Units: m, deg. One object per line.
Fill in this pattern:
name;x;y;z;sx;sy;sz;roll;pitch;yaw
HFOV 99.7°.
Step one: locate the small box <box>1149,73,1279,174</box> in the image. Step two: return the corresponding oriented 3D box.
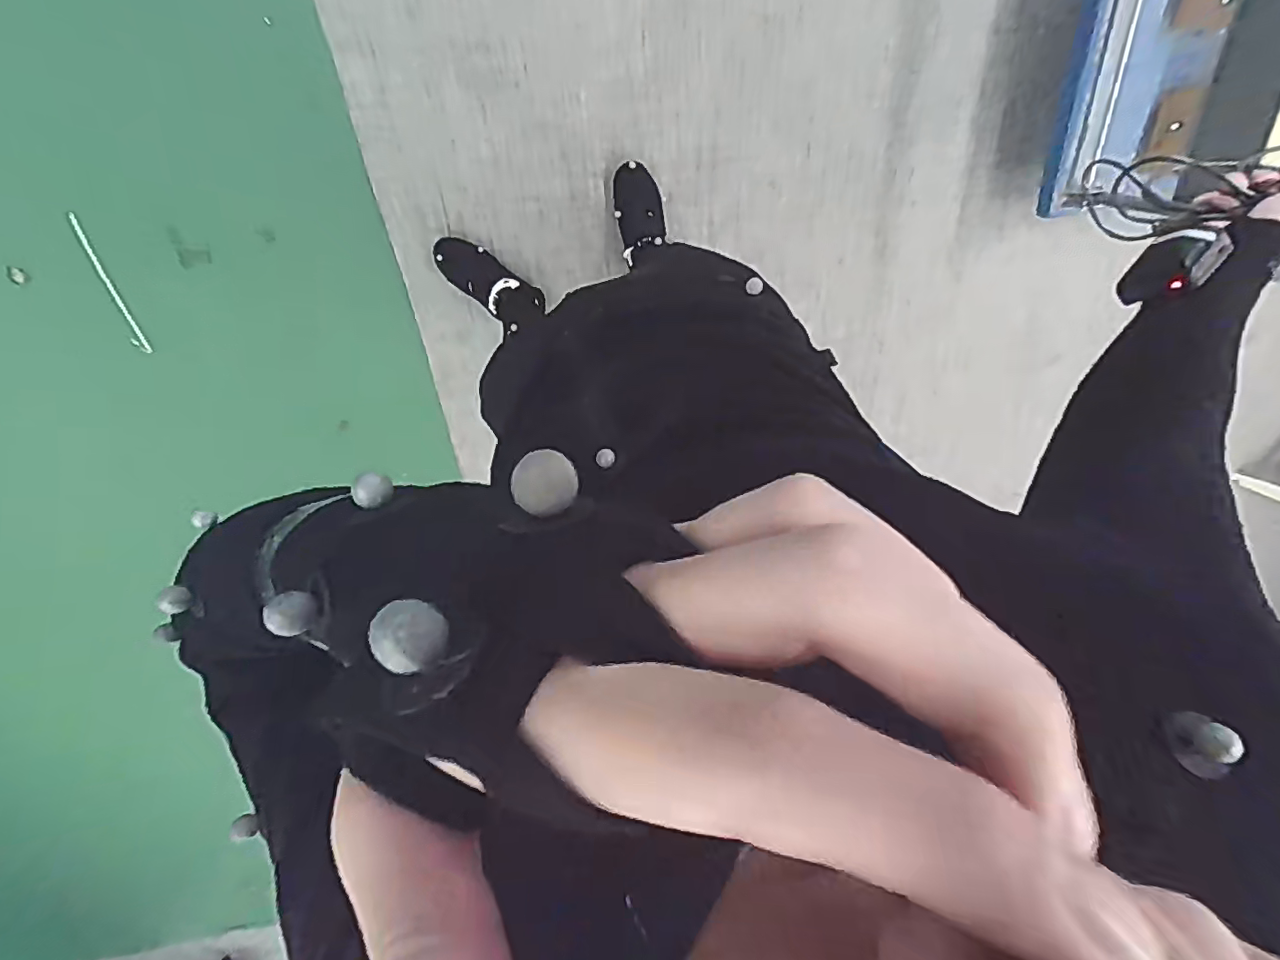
small box;1.296;-0.780;1.182;0.179;0.176;0.168;-10;123;-2
